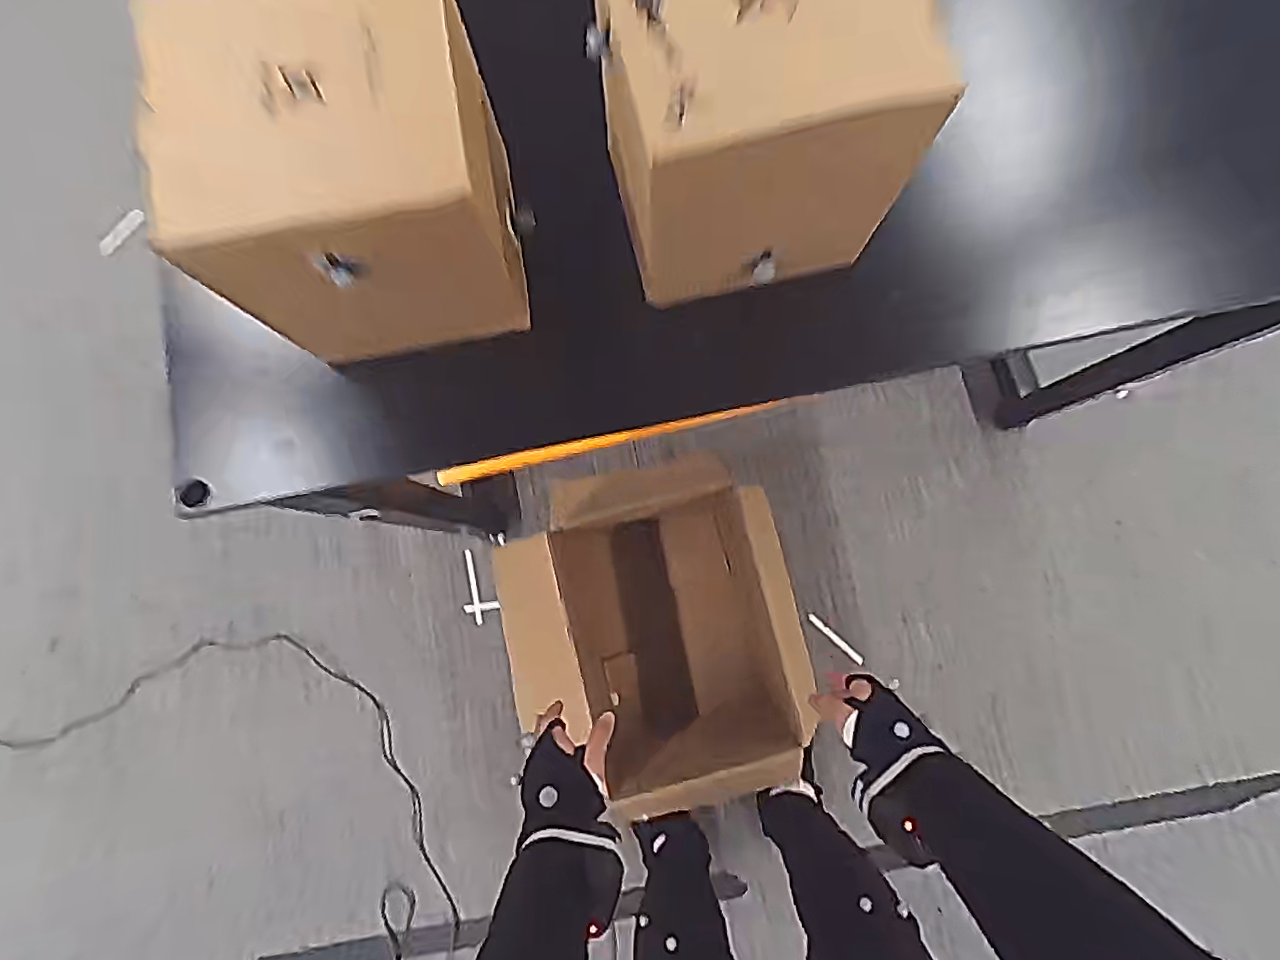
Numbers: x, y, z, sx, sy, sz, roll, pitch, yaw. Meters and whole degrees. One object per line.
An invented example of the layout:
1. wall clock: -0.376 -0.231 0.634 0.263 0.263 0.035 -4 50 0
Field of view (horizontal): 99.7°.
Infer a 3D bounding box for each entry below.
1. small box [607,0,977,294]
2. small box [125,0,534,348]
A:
1. small box: 0.076 -0.253 0.369 0.179 0.176 0.168 -12 81 -2
2. small box: -0.183 -0.204 0.365 0.179 0.176 0.168 -11 82 -2
